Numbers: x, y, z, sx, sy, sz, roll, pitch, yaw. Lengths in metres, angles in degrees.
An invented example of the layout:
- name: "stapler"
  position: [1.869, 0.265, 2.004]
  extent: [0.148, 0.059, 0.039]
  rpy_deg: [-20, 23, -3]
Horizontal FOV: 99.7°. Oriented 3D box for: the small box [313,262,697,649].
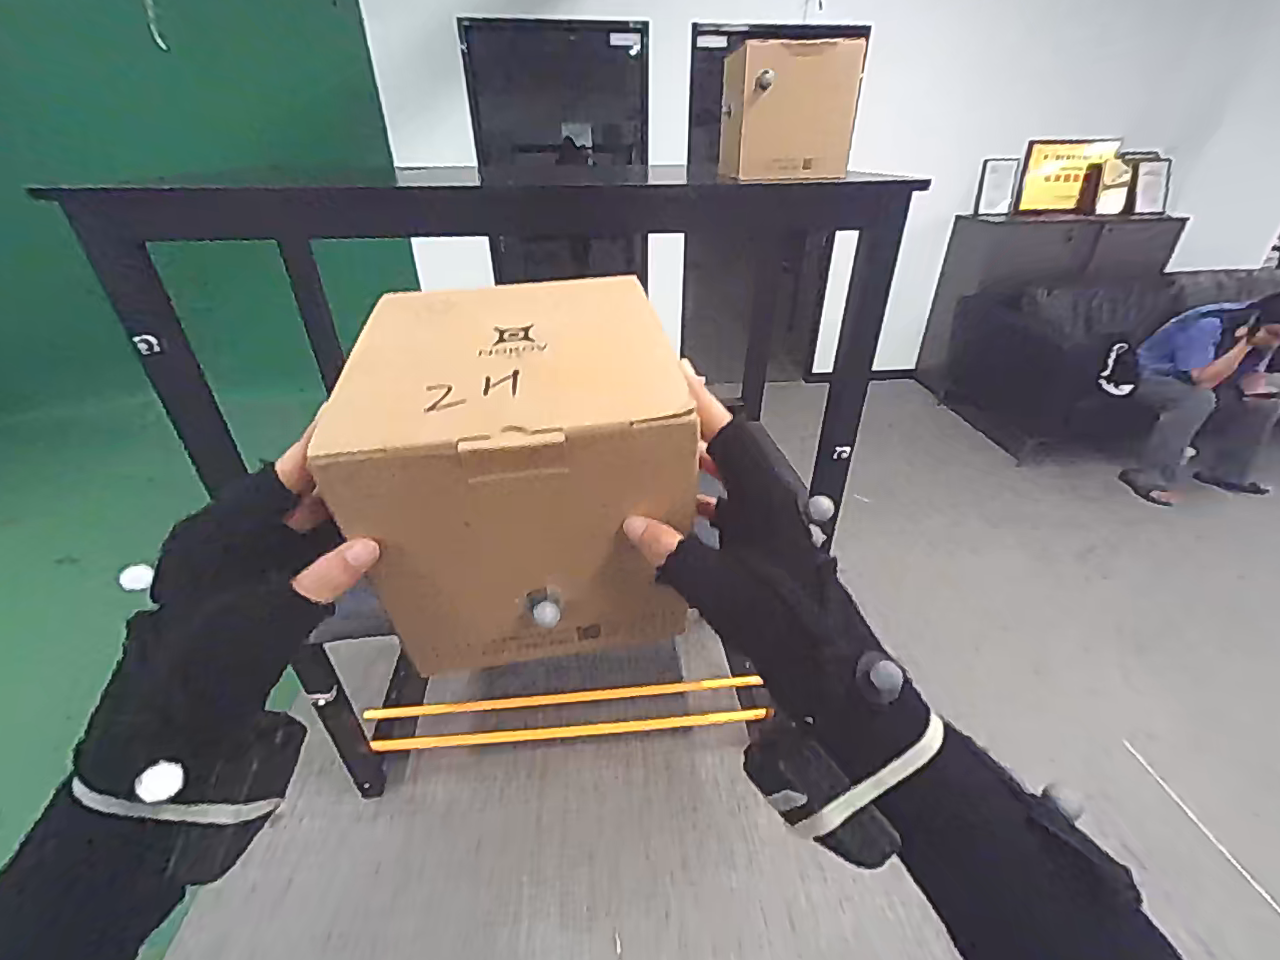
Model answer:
- name: "small box"
  position: [-0.066, -0.022, 0.344]
  extent: [0.168, 0.176, 0.179]
  rpy_deg: [-7, 41, -6]
